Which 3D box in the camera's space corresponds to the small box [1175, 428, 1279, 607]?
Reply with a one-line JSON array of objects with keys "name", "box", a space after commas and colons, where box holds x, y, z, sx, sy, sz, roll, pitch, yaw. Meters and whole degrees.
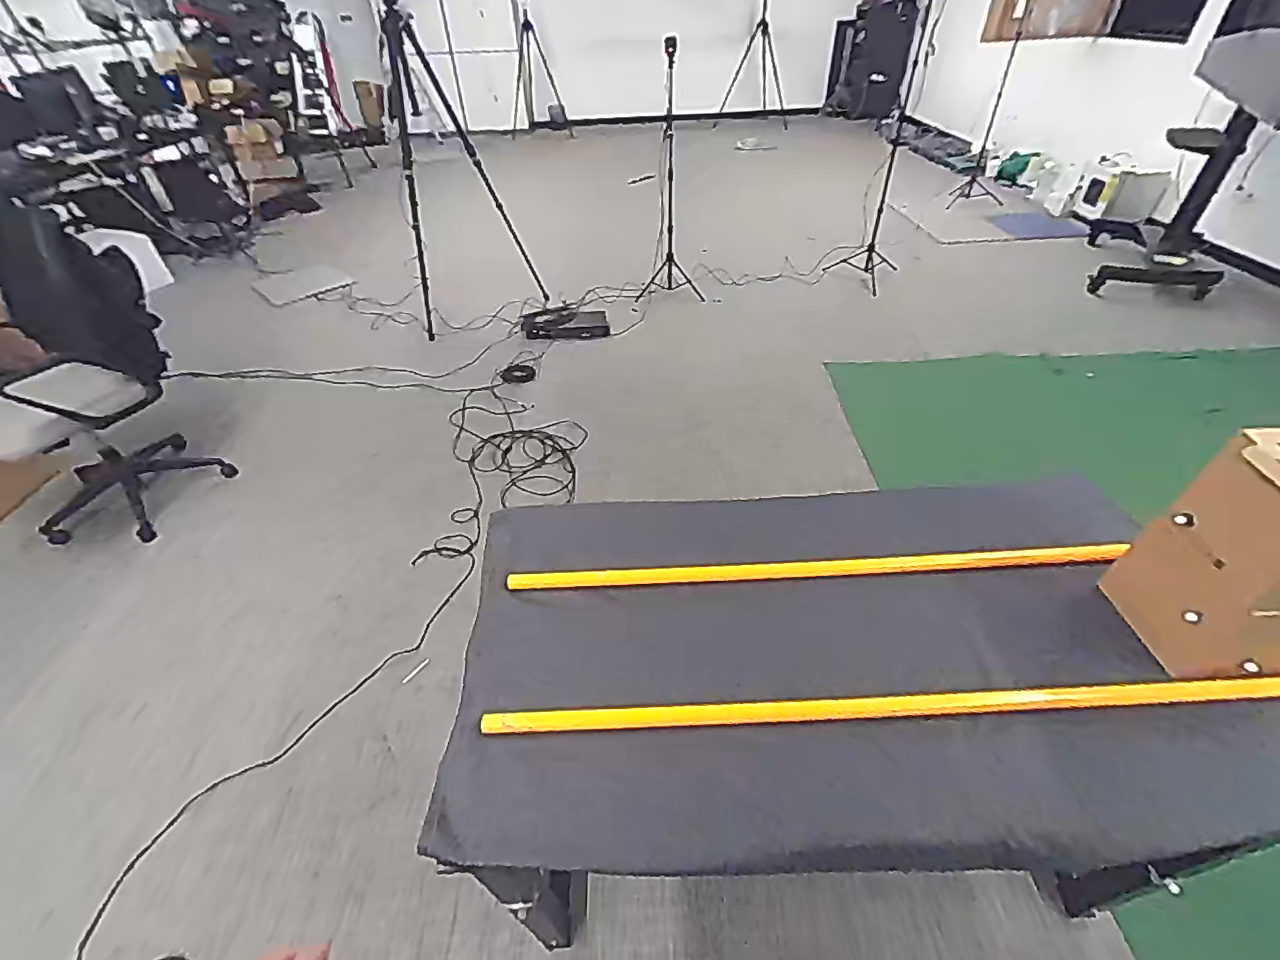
[{"name": "small box", "box": [0.851, 0.050, 0.686, 0.179, 0.176, 0.168, 1, 43, 3]}]
